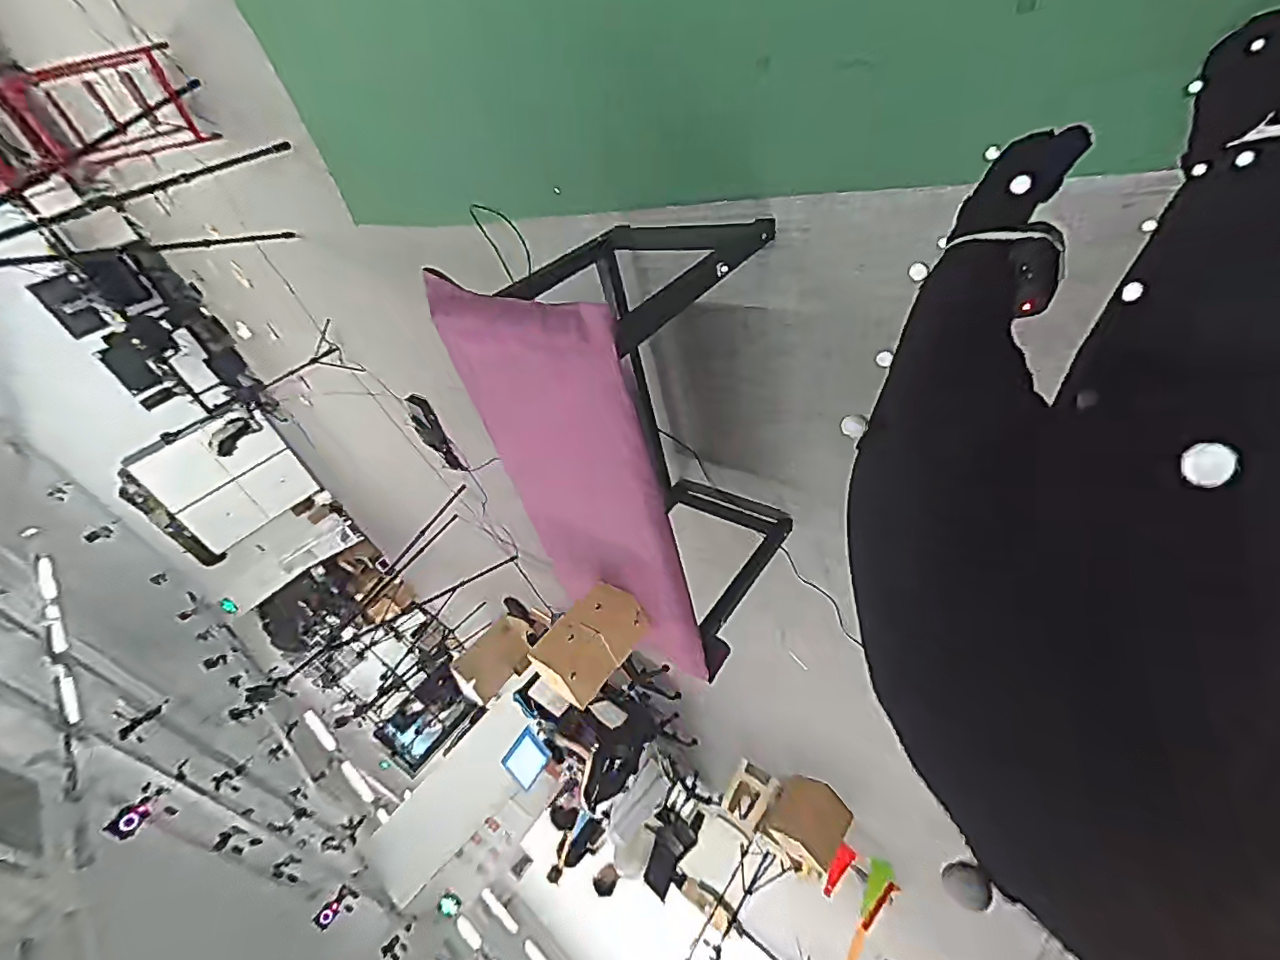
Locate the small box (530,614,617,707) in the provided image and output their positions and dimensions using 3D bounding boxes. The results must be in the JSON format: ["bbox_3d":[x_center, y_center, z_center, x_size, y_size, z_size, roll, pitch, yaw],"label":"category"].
[{"bbox_3d":[-0.198,0.548,1.656,0.168,0.176,0.179,12,135,43],"label":"small box"}]
